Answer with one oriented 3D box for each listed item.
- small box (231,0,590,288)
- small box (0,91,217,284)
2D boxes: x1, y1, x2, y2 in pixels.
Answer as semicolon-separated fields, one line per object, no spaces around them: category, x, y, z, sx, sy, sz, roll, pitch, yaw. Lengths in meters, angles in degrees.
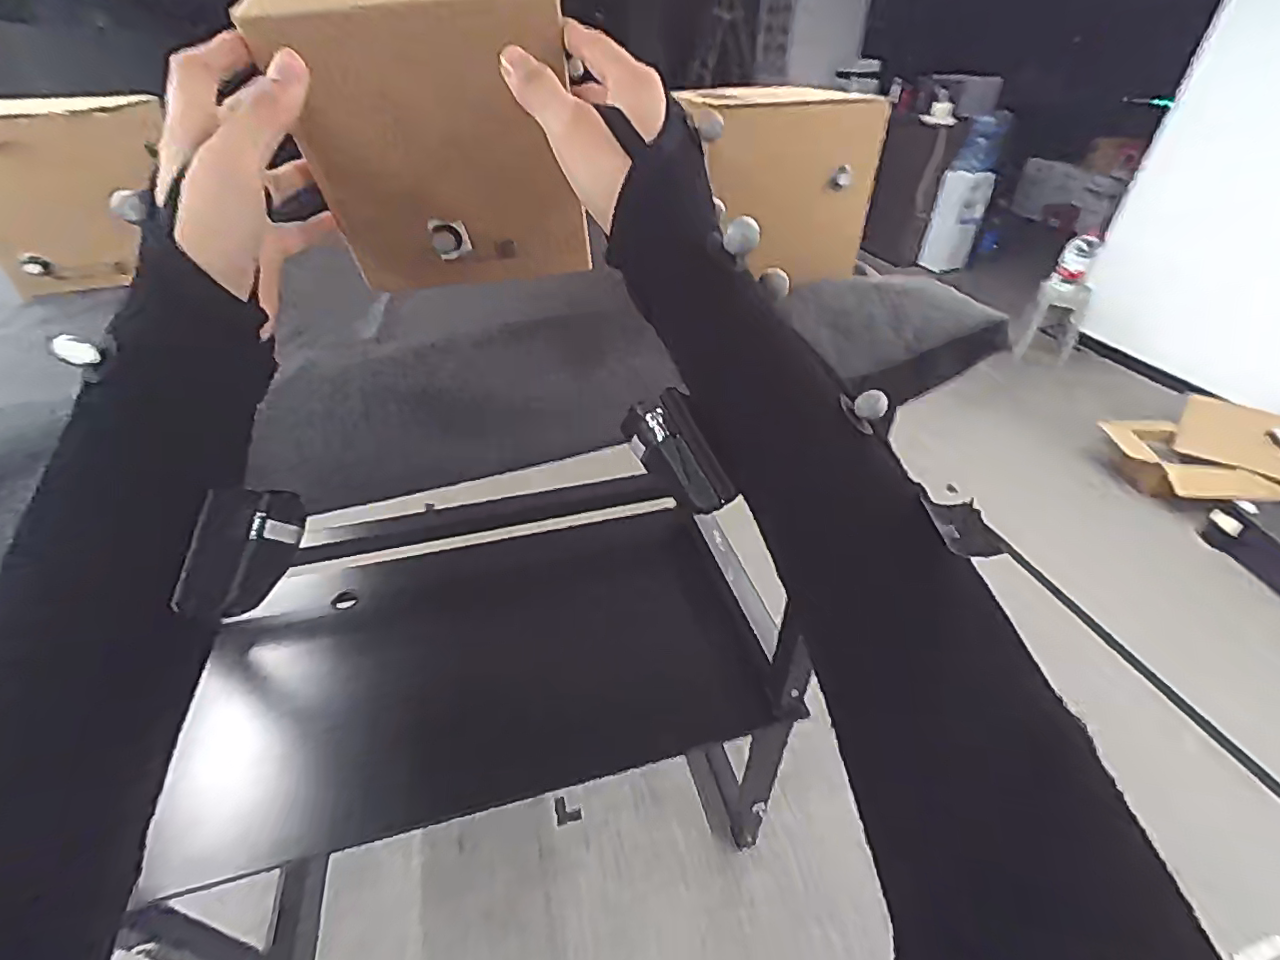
small box;-0.130;-0.263;0.382;0.168;0.176;0.179;-8;55;-3
small box;-0.632;-0.334;0.622;0.168;0.176;0.179;-13;41;-15
